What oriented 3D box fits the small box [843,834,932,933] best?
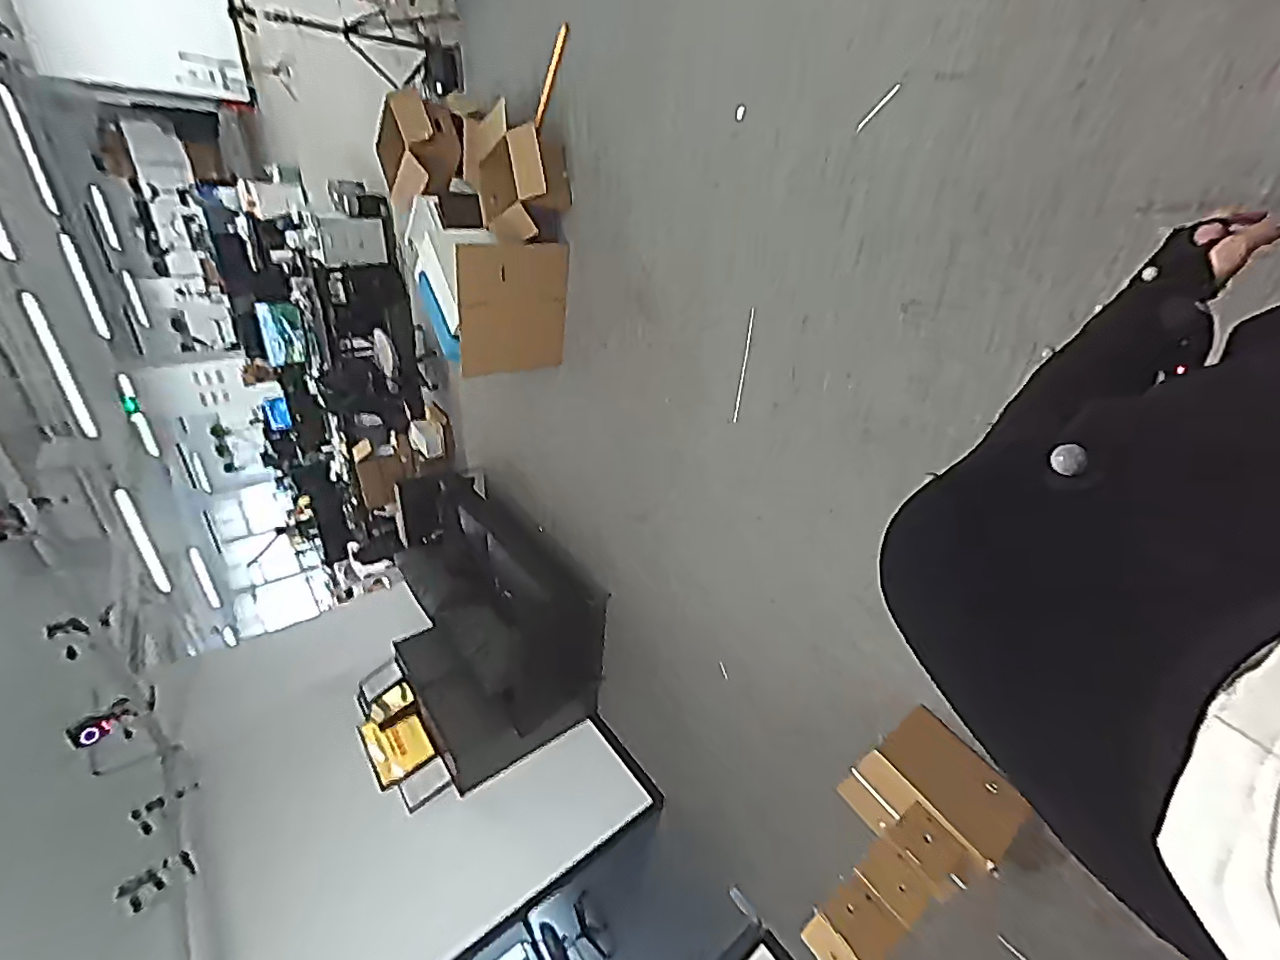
[{"bbox_3d":[0.689,1.150,1.526,0.168,0.176,0.179,40,135,37],"label":"small box"}]

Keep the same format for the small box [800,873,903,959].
[{"bbox_3d":[0.563,1.197,1.434,0.168,0.176,0.179,40,135,38],"label":"small box"}]

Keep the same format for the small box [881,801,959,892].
[{"bbox_3d":[0.817,1.111,1.618,0.168,0.176,0.179,41,134,37],"label":"small box"}]
